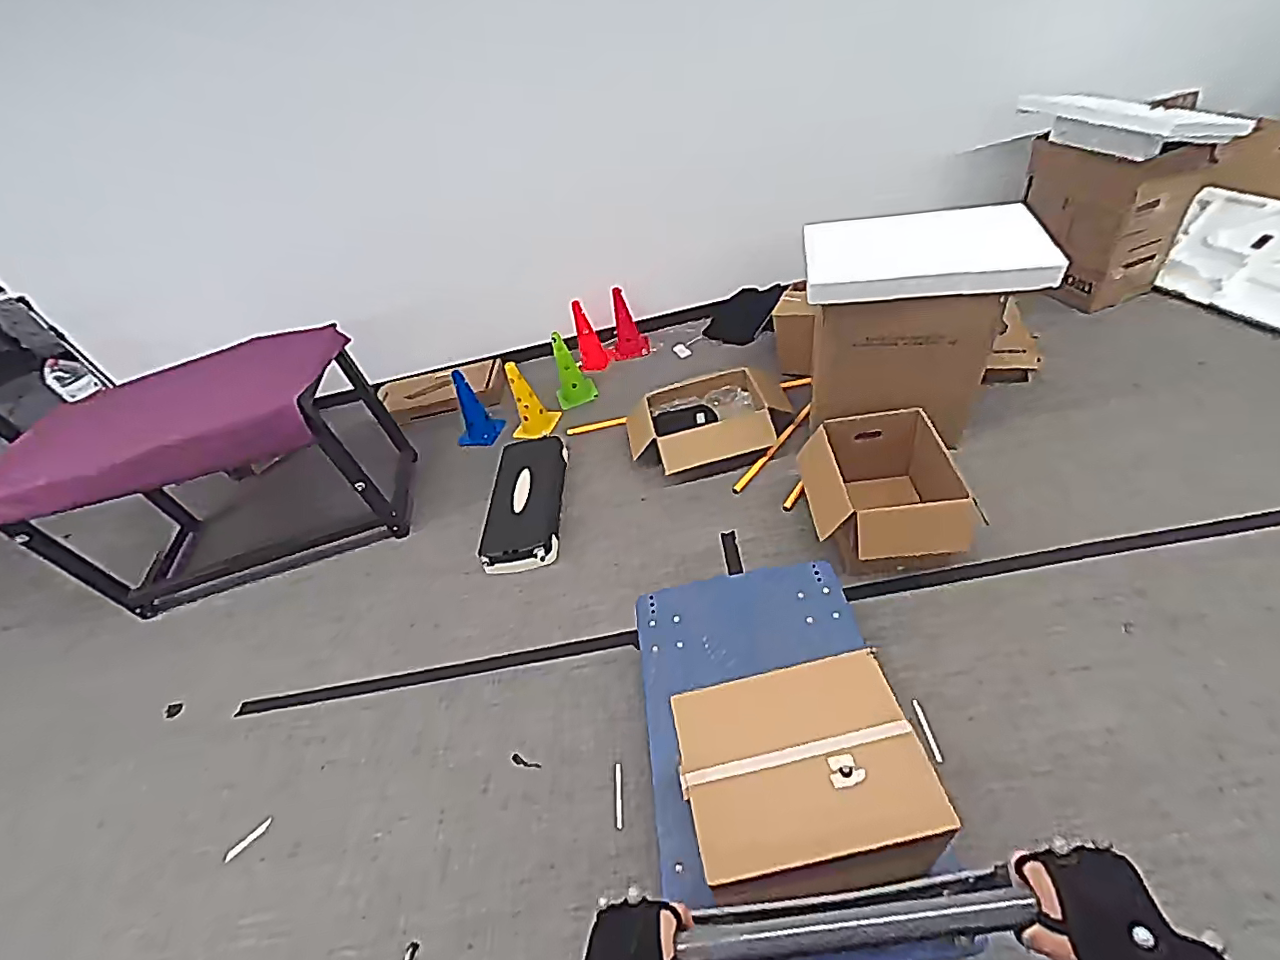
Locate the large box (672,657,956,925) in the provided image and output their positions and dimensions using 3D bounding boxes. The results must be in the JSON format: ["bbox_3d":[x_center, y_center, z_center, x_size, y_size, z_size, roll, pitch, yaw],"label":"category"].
[{"bbox_3d":[0.304,0.601,1.046,0.408,0.320,0.320,-14,43,1],"label":"large box"}]
